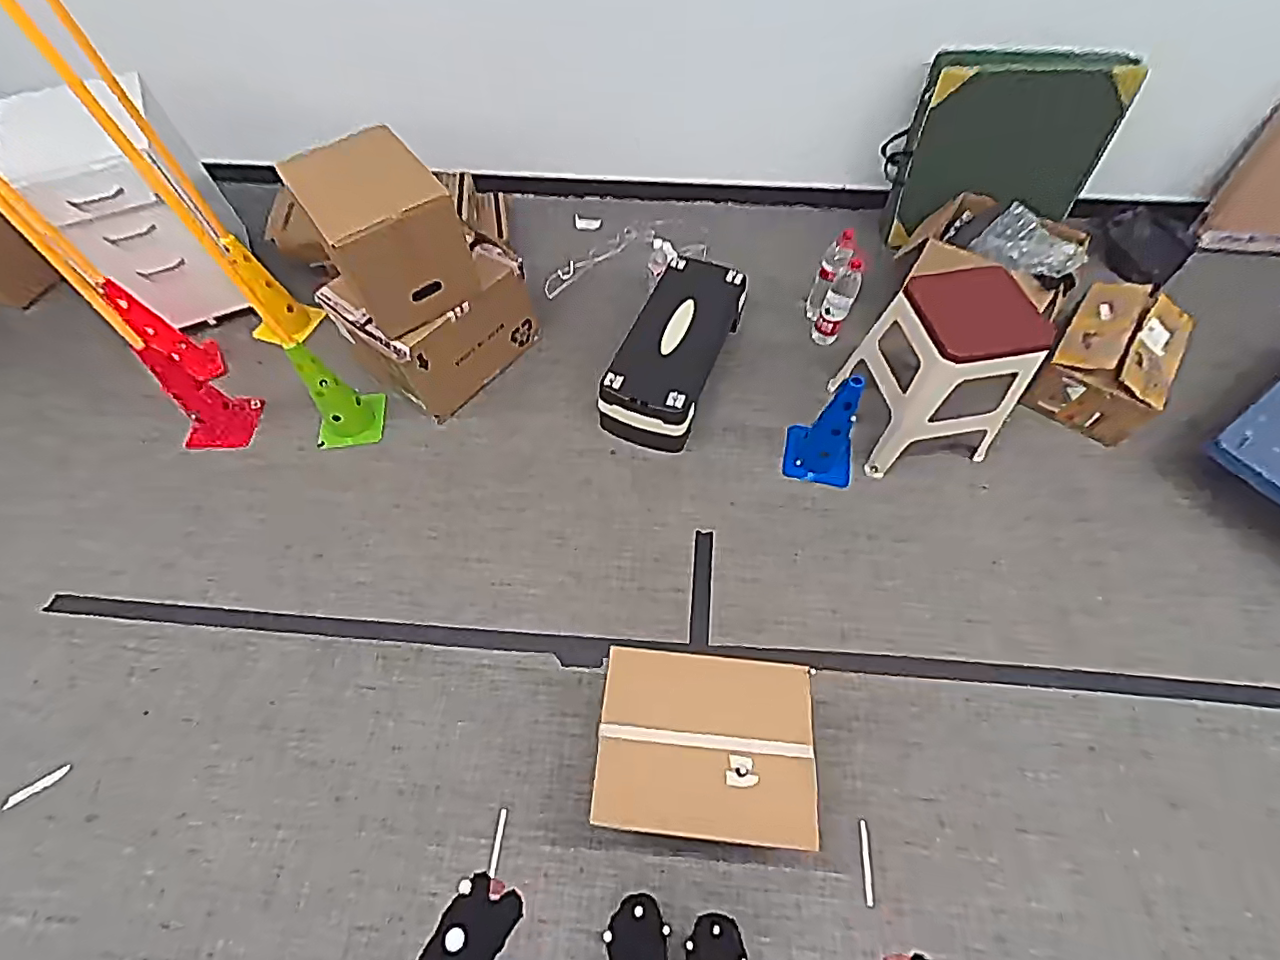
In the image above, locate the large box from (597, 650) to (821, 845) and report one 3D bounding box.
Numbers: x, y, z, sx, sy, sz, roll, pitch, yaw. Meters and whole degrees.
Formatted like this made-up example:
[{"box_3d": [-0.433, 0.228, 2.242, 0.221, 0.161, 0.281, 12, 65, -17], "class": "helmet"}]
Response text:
[{"box_3d": [0.128, 0.569, 1.153, 0.408, 0.320, 0.320, 5, 61, 2], "class": "large box"}]
